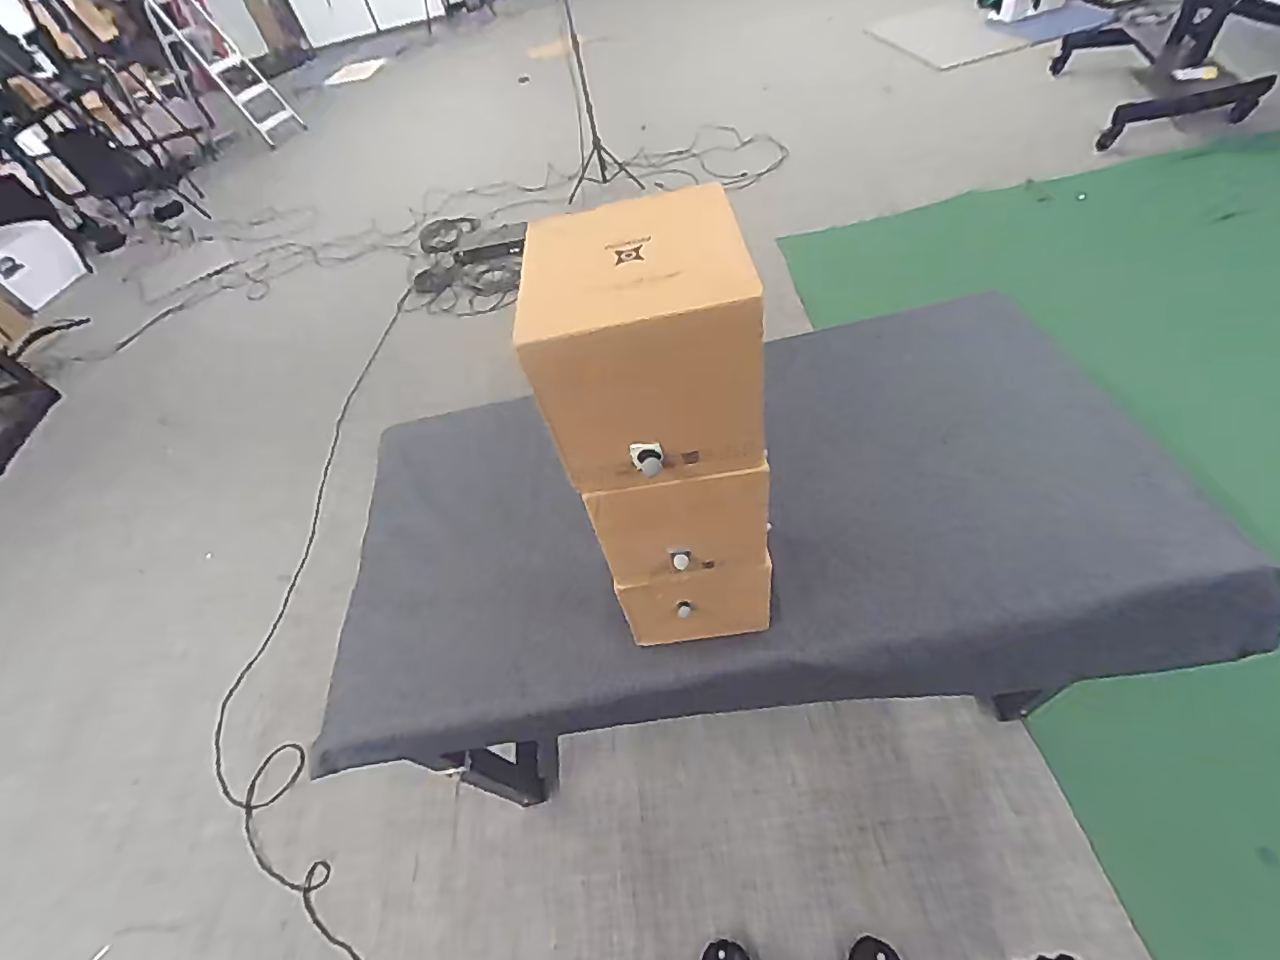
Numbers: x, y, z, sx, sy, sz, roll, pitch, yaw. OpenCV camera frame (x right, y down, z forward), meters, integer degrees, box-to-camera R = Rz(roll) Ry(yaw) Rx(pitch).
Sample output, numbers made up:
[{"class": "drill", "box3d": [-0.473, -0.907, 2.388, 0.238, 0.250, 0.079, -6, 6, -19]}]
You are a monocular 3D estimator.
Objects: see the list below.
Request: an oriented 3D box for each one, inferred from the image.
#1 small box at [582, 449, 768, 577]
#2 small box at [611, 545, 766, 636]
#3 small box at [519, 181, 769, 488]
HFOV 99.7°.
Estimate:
[{"class": "small box", "box3d": [0.039, -0.017, 0.583, 0.168, 0.176, 0.179, -7, 51, 6]}, {"class": "small box", "box3d": [0.064, 0.090, 0.706, 0.179, 0.176, 0.168, -9, 51, 5]}, {"class": "small box", "box3d": [0.009, -0.118, 0.461, 0.168, 0.176, 0.179, -9, 51, 6]}]
